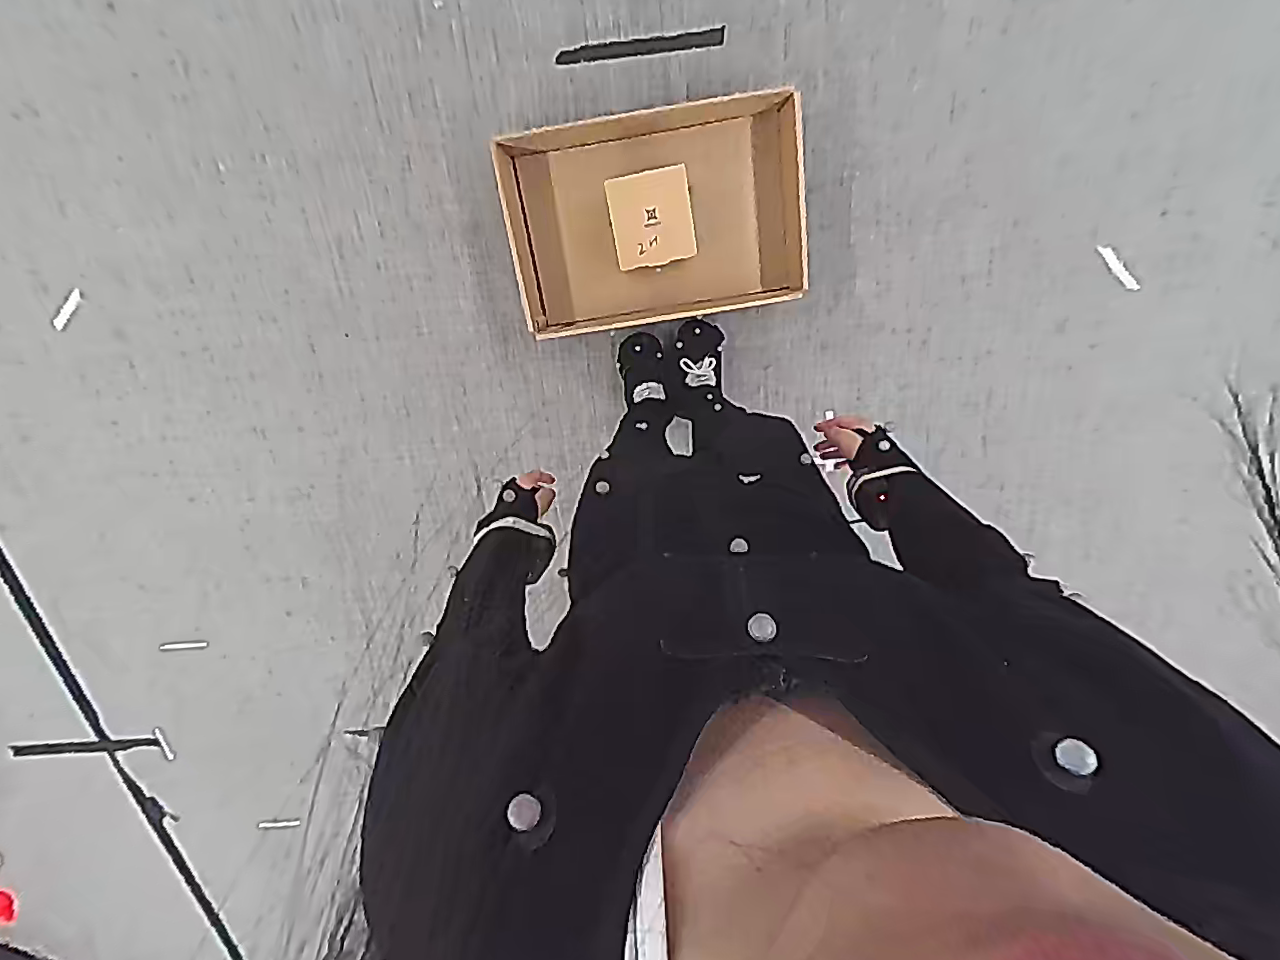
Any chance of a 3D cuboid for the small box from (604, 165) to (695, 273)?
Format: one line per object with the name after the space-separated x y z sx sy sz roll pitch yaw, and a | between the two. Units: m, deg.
0.020 -0.556 1.171 0.168 0.176 0.179 -10 110 4 | small box
